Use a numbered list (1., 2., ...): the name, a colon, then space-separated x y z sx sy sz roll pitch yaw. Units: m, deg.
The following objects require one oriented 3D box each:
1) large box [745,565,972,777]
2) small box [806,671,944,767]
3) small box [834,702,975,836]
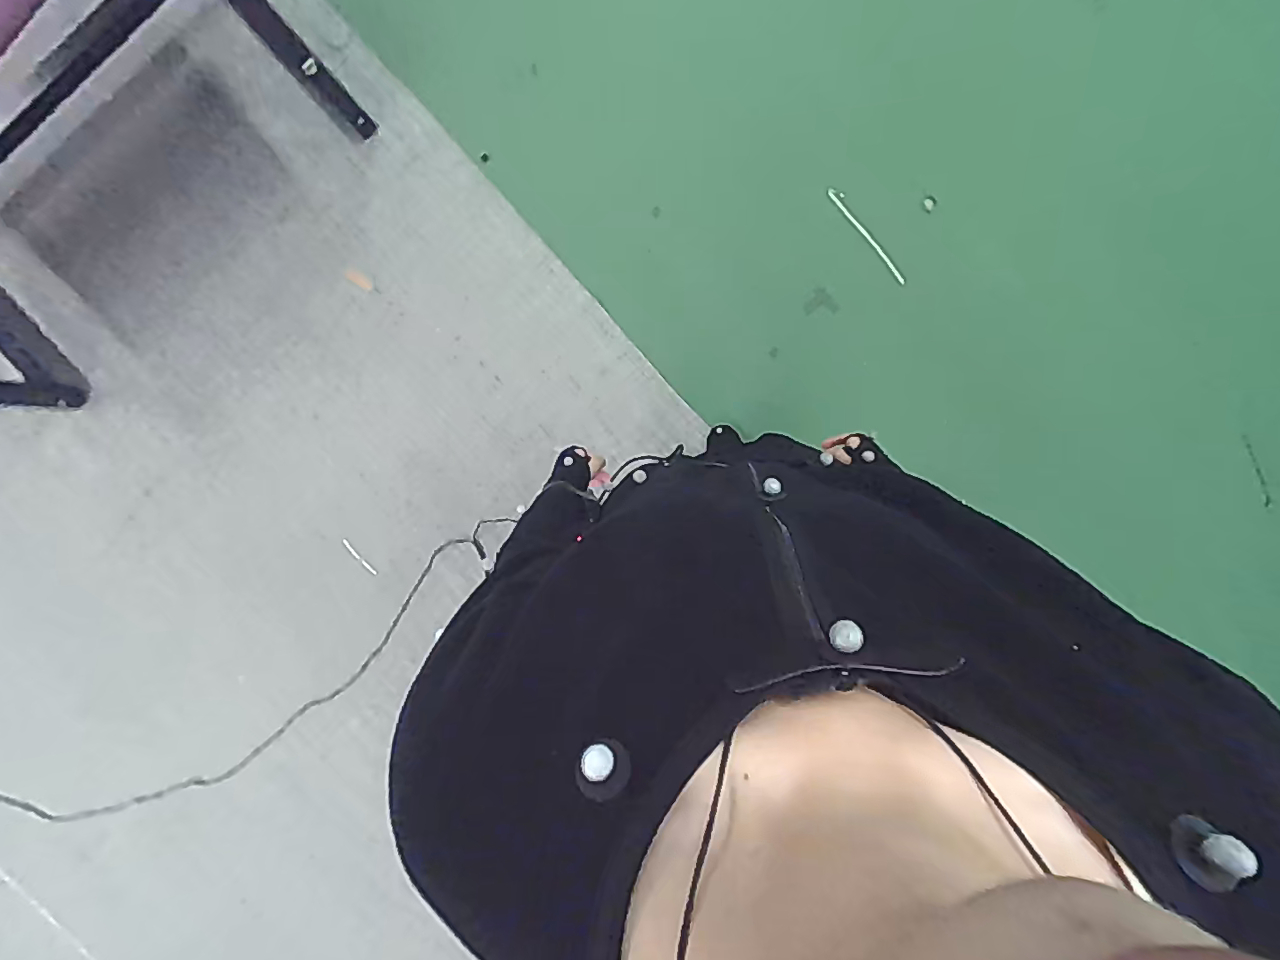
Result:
1. large box: 0.522 0.489 1.378 0.320 0.320 0.408 34 93 -2
2. small box: 0.480 0.531 1.137 0.179 0.176 0.168 35 94 -1
3. small box: 0.476 0.545 0.974 0.168 0.176 0.179 34 94 0
